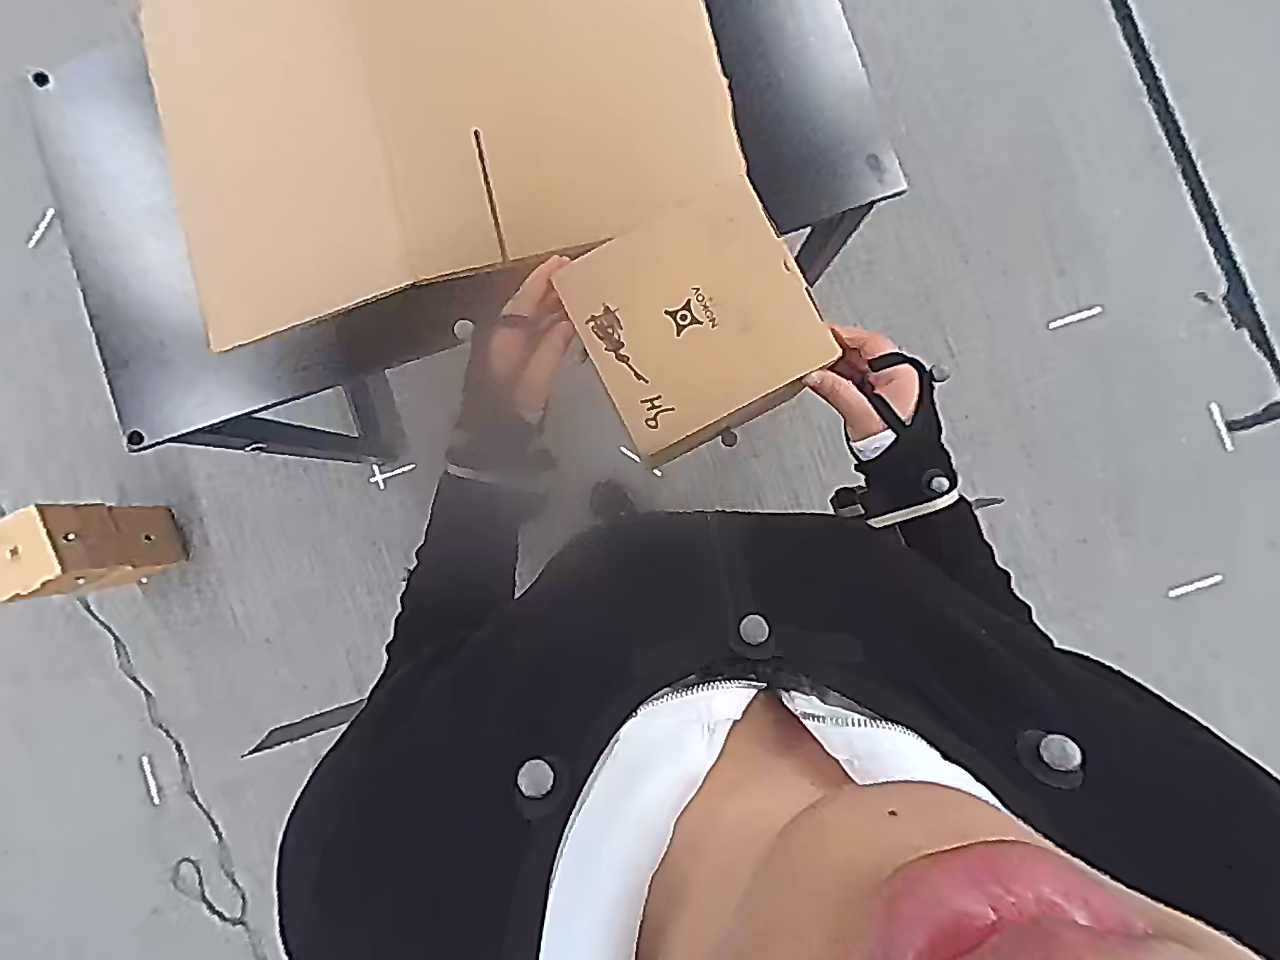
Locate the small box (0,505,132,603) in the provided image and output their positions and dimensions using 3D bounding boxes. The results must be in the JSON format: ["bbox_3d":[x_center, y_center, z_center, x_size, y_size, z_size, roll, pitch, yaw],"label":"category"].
[{"bbox_3d":[-1.382,0.168,1.288,0.168,0.176,0.179,-25,87,-1],"label":"small box"}]

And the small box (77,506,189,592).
[{"bbox_3d":[-1.376,0.180,1.451,0.168,0.176,0.179,-23,88,0],"label":"small box"}]
